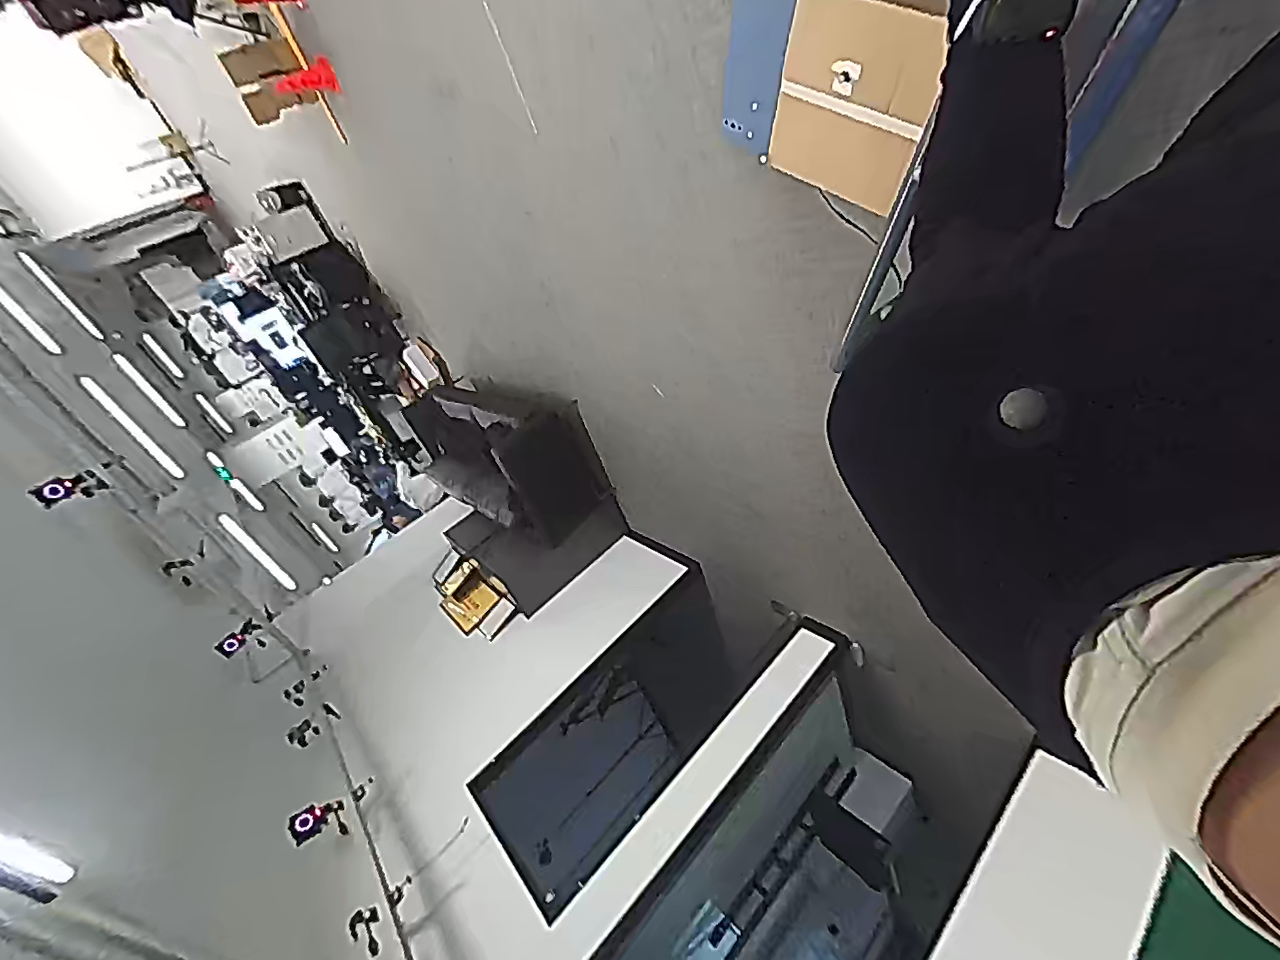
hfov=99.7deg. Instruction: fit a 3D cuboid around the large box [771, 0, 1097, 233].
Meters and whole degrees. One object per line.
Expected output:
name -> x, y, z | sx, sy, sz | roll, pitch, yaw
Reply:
large box -> 0.536, -0.757, 1.054 | 0.408, 0.320, 0.320 | 41, 153, 24
